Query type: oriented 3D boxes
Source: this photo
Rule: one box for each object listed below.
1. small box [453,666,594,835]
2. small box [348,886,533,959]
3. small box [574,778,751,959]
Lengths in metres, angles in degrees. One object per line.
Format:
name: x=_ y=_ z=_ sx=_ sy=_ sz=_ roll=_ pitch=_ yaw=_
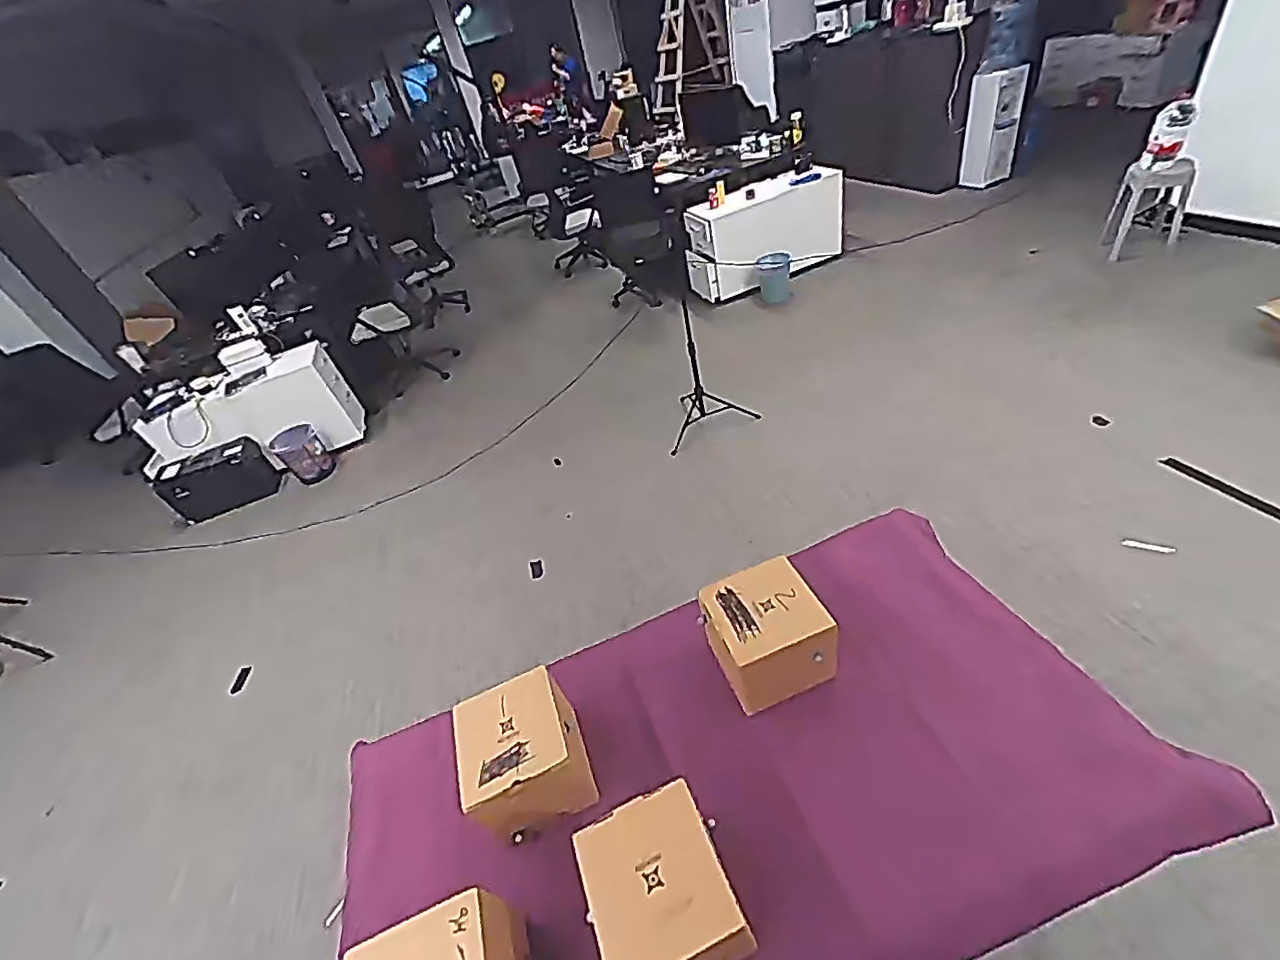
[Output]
small box: x=-0.190 y=0.453 z=0.894 sx=0.168 sy=0.176 sz=0.179 roll=-23 pitch=39 yaw=-8
small box: x=-0.239 y=0.655 z=0.671 sx=0.179 sy=0.176 sz=0.168 roll=-23 pitch=40 yaw=-7
small box: x=0.031 y=0.542 z=0.712 sx=0.168 sy=0.176 sz=0.179 roll=-24 pitch=42 yaw=-8
